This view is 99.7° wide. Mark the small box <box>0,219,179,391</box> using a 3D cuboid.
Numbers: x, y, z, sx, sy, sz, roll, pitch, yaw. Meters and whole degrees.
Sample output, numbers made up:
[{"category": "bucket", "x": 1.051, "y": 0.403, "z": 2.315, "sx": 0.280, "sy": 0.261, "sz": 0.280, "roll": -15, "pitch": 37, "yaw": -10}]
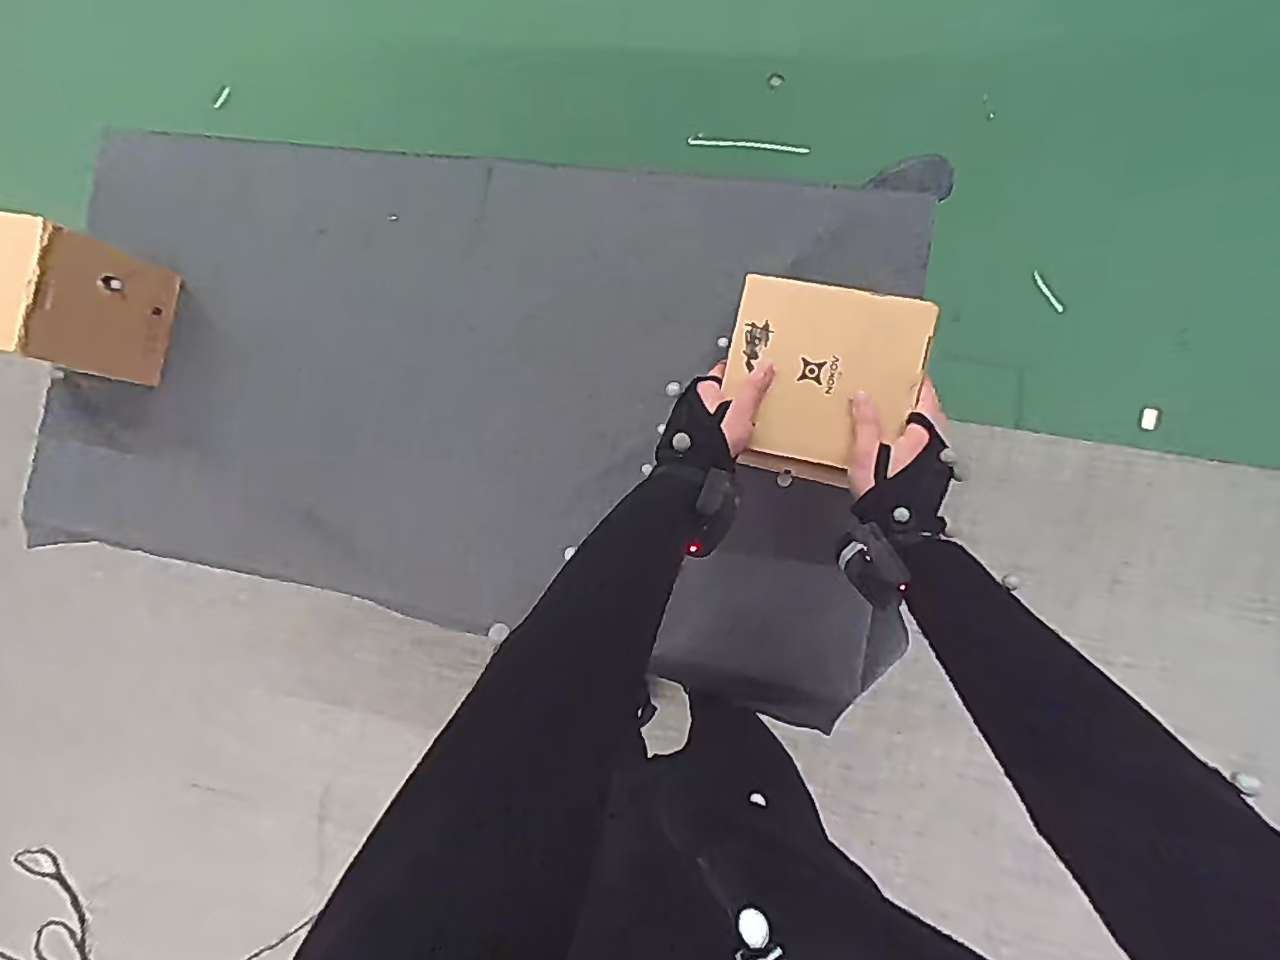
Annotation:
[{"category": "small box", "x": -0.775, "y": -0.226, "z": 0.717, "sx": 0.179, "sy": 0.176, "sz": 0.168, "roll": 13, "pitch": 86, "yaw": 8}]

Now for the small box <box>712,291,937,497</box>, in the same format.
[{"category": "small box", "x": 0.182, "y": -0.081, "z": 0.585, "sx": 0.179, "sy": 0.176, "sz": 0.168, "roll": 13, "pitch": 89, "yaw": 9}]
